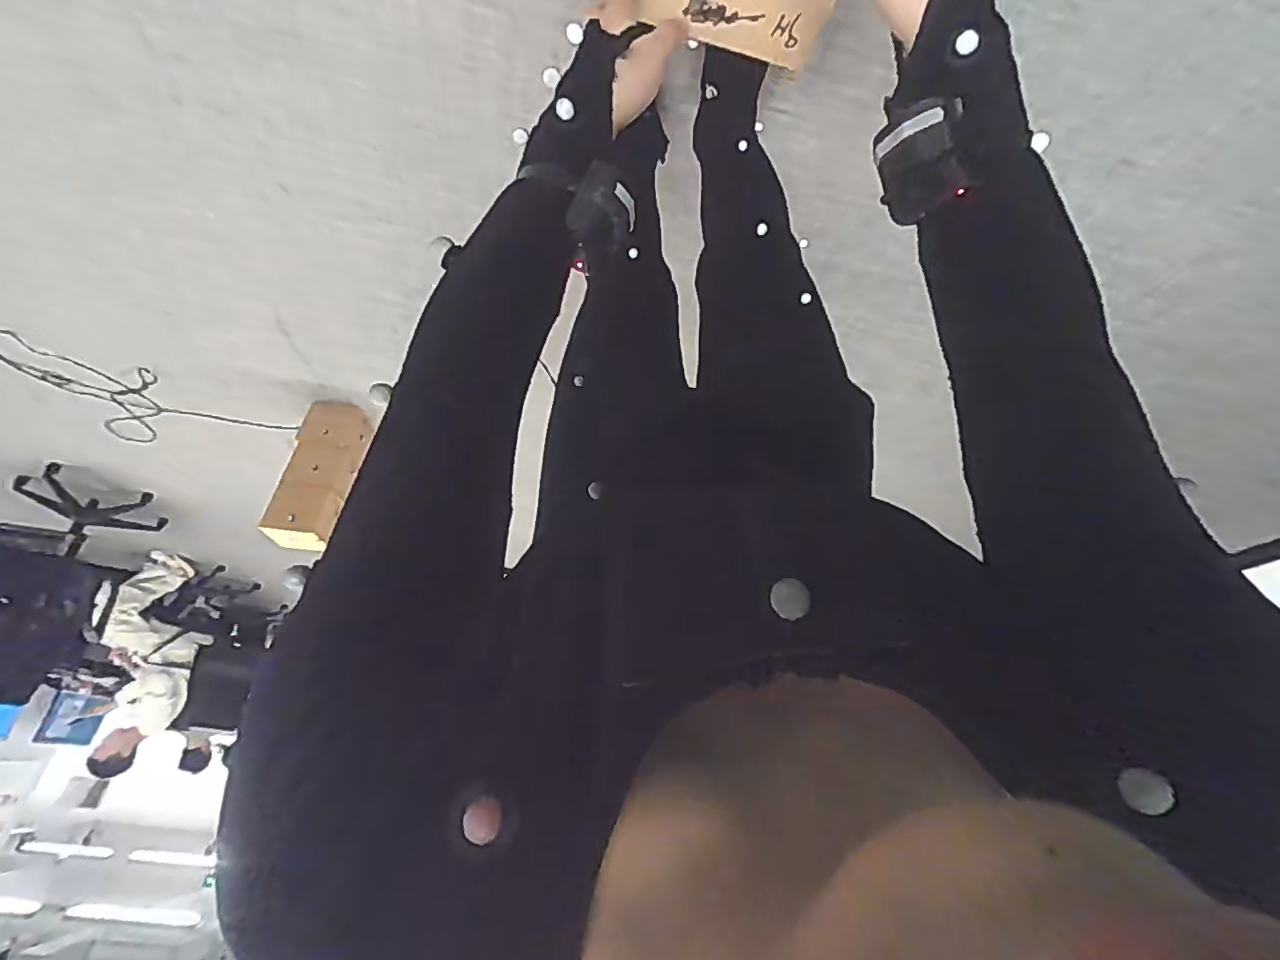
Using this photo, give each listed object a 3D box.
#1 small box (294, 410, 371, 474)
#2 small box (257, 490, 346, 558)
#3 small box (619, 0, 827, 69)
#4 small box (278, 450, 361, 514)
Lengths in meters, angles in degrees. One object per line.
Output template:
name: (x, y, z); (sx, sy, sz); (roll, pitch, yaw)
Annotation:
small box: (-1.109, -0.140, 1.975); (0.179, 0.176, 0.168); (6, 149, 0)
small box: (-1.130, 0.146, 1.820); (0.179, 0.176, 0.168); (6, 150, -3)
small box: (0.081, -0.485, 0.433); (0.168, 0.176, 0.179); (9, 147, -10)
small box: (-1.121, 0.009, 1.907); (0.179, 0.176, 0.168); (7, 150, -4)
